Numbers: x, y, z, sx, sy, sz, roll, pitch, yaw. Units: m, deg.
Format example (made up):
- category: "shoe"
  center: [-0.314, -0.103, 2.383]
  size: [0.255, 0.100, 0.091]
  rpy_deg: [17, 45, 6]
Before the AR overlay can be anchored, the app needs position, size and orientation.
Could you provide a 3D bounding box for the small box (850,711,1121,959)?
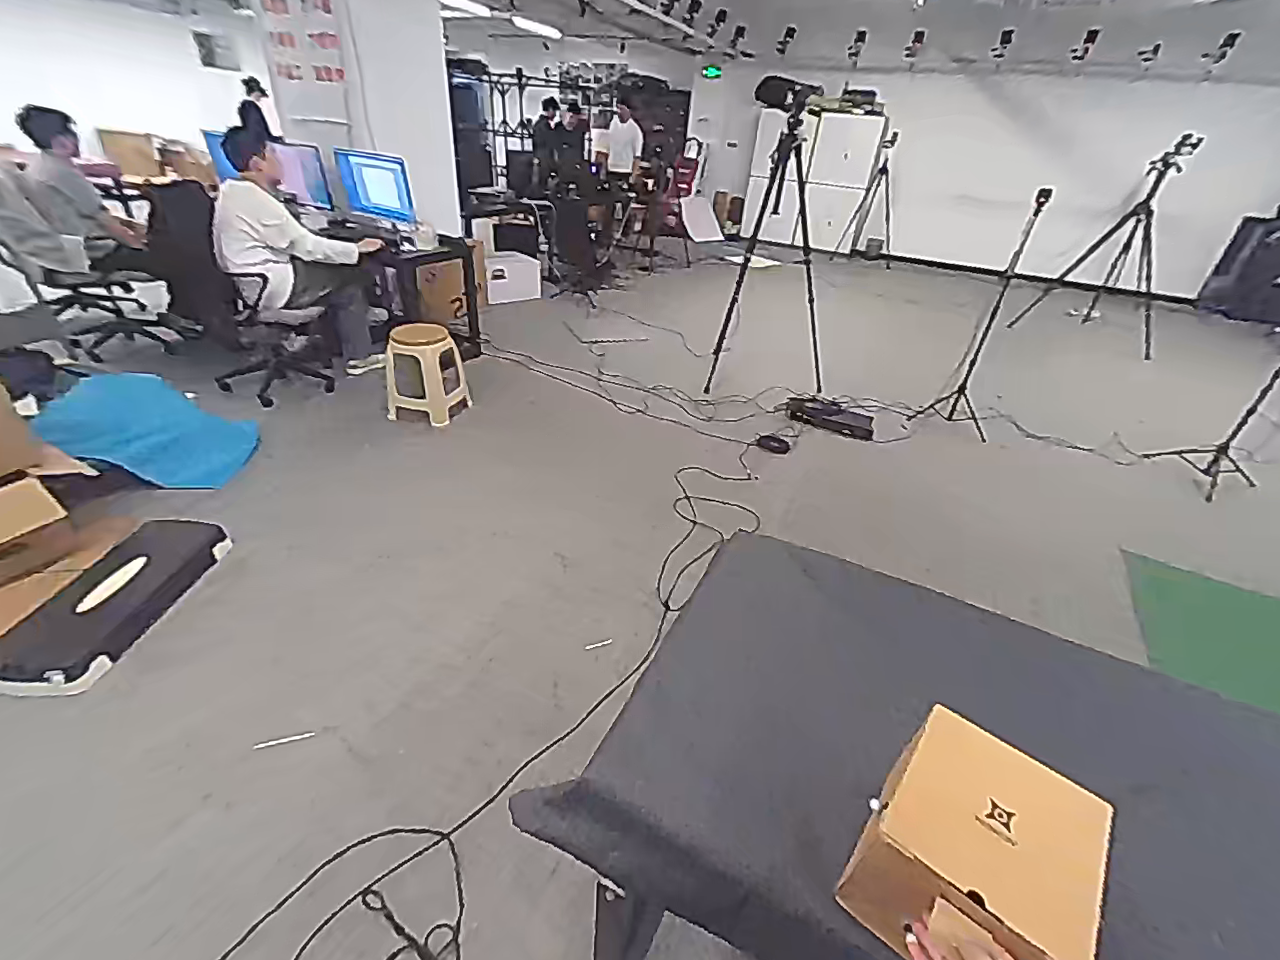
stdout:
- category: "small box"
  center: [0.339, 0.388, 0.551]
  size: [0.168, 0.176, 0.179]
  rpy_deg: [29, 44, 31]
